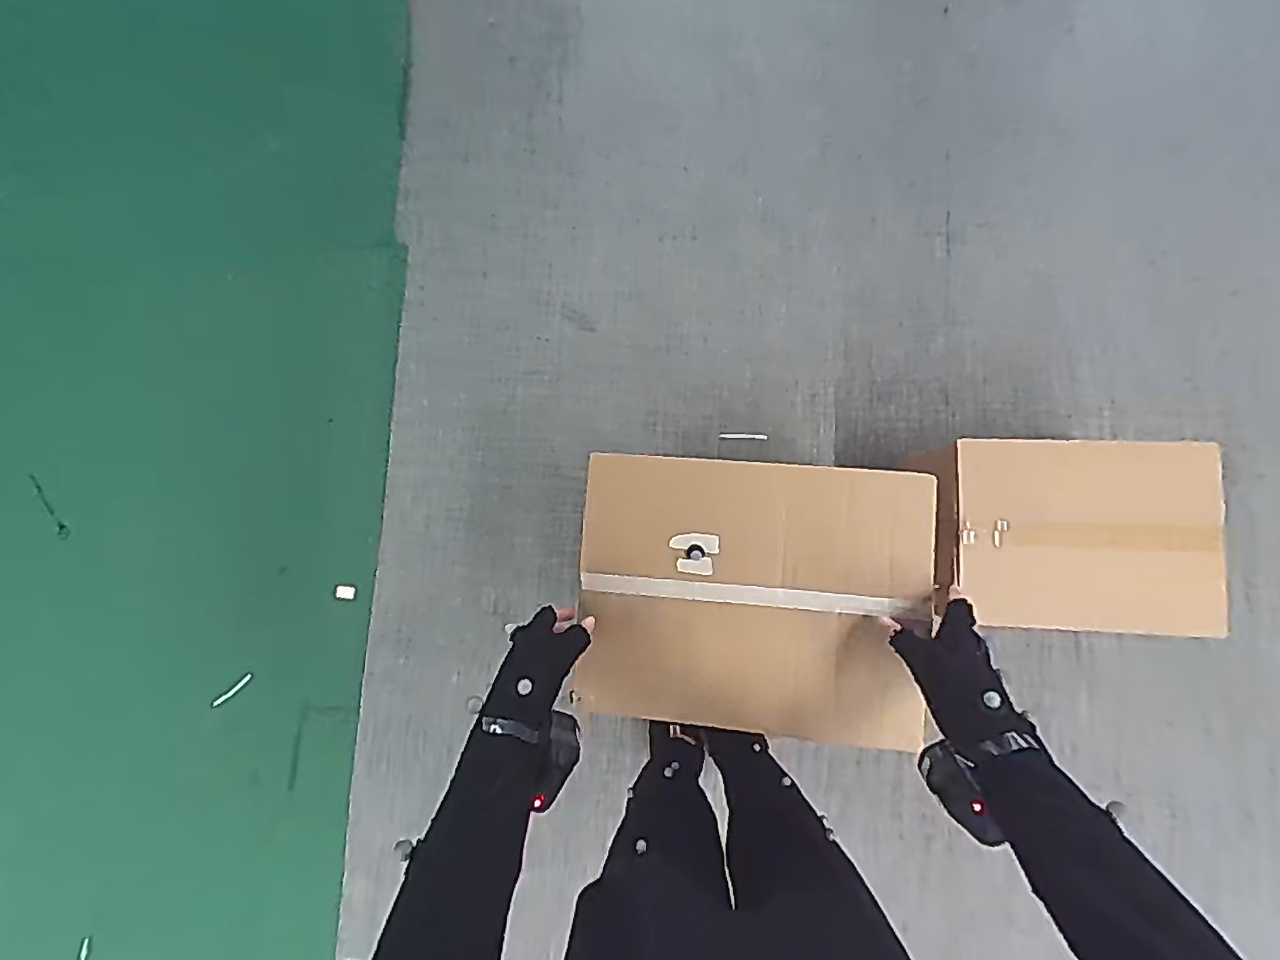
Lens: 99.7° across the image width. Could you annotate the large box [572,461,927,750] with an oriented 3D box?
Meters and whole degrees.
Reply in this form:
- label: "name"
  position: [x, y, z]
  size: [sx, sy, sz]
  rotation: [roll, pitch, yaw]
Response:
- label: "large box"
  position: [0.144, 0.146, 0.781]
  size: [0.408, 0.320, 0.320]
  rotation: [4, 87, 8]
